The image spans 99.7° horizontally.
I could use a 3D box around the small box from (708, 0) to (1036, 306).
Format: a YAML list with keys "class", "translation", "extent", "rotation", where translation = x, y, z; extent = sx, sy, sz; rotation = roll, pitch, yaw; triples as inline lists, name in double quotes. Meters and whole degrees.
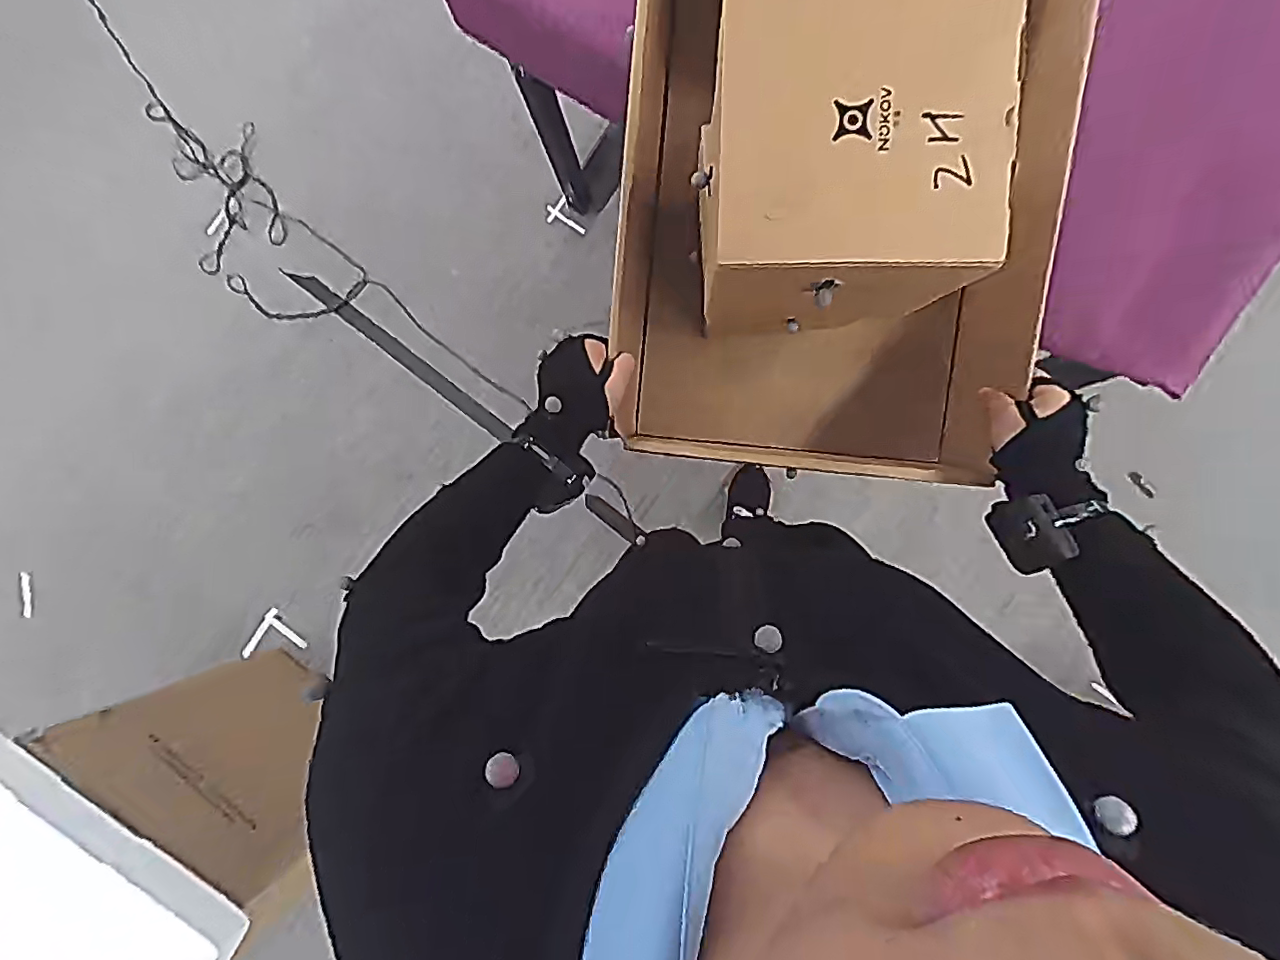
- class: "small box"
  translation: [0.142, -0.228, 0.395]
  extent: [0.179, 0.176, 0.168]
  rotation: [1, 96, 4]
